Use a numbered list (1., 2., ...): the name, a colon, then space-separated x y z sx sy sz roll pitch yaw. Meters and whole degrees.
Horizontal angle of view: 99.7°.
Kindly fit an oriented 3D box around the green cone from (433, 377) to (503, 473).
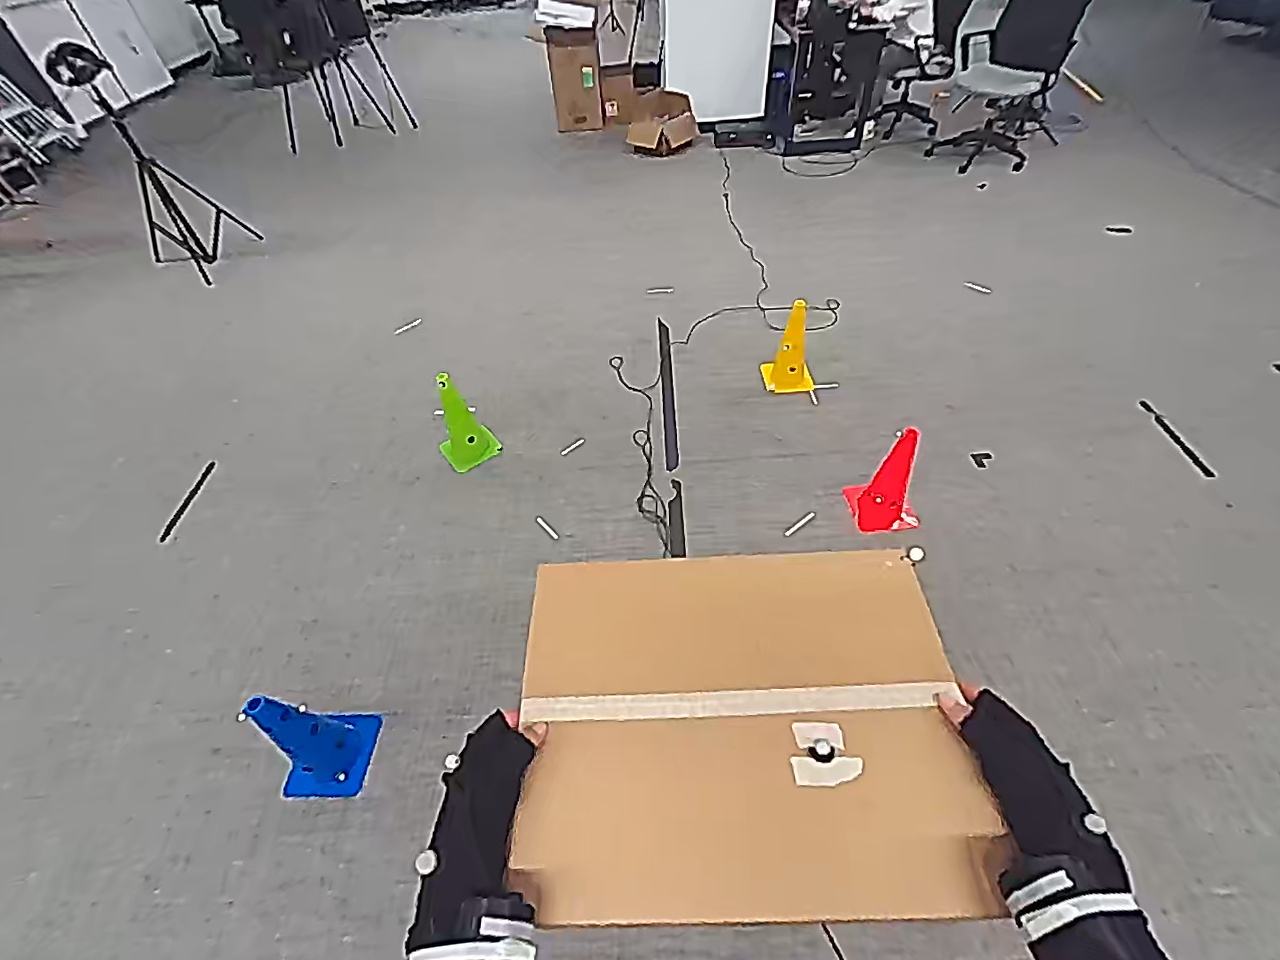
1. green cone: -0.684 -0.236 2.023 0.202 0.368 0.200 -34 53 -21

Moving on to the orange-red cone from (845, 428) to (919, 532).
1. orange-red cone: 0.806 -0.022 1.712 0.198 0.360 0.199 -5 47 -1

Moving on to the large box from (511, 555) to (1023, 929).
1. large box: 0.098 0.307 0.622 0.408 0.320 0.320 -3 51 2

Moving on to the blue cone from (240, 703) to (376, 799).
1. blue cone: -0.812 0.616 1.290 0.192 0.380 0.193 -2 48 5
